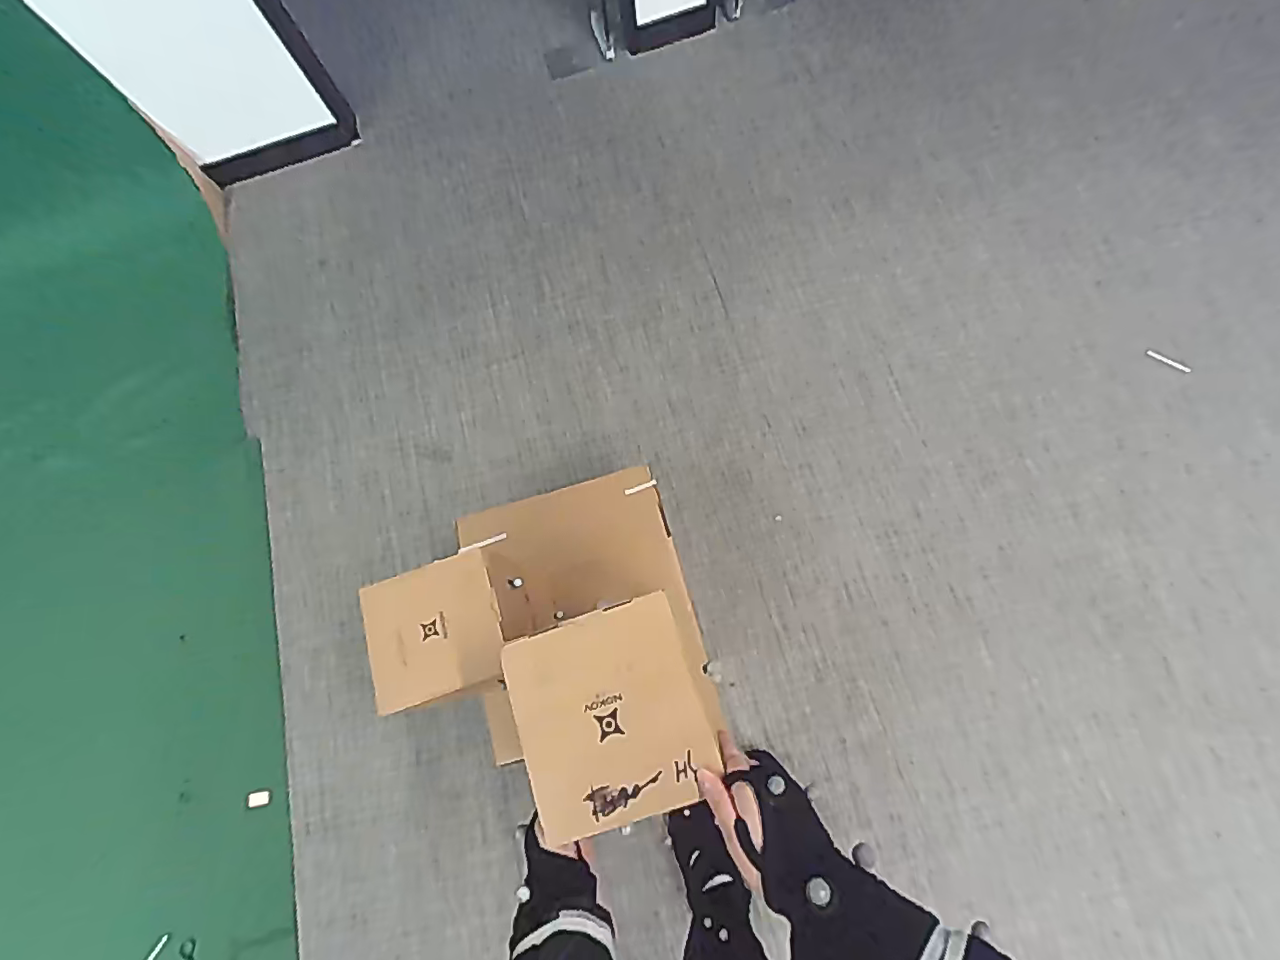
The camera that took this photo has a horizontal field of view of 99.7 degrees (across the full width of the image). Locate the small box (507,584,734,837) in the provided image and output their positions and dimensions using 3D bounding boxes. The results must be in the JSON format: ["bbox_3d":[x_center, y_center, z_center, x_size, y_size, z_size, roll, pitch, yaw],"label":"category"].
[{"bbox_3d":[-0.011,0.219,0.553,0.168,0.176,0.179,-21,74,6],"label":"small box"}]

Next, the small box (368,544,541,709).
[{"bbox_3d":[-0.245,0.205,0.764,0.179,0.176,0.168,-20,71,2],"label":"small box"}]
